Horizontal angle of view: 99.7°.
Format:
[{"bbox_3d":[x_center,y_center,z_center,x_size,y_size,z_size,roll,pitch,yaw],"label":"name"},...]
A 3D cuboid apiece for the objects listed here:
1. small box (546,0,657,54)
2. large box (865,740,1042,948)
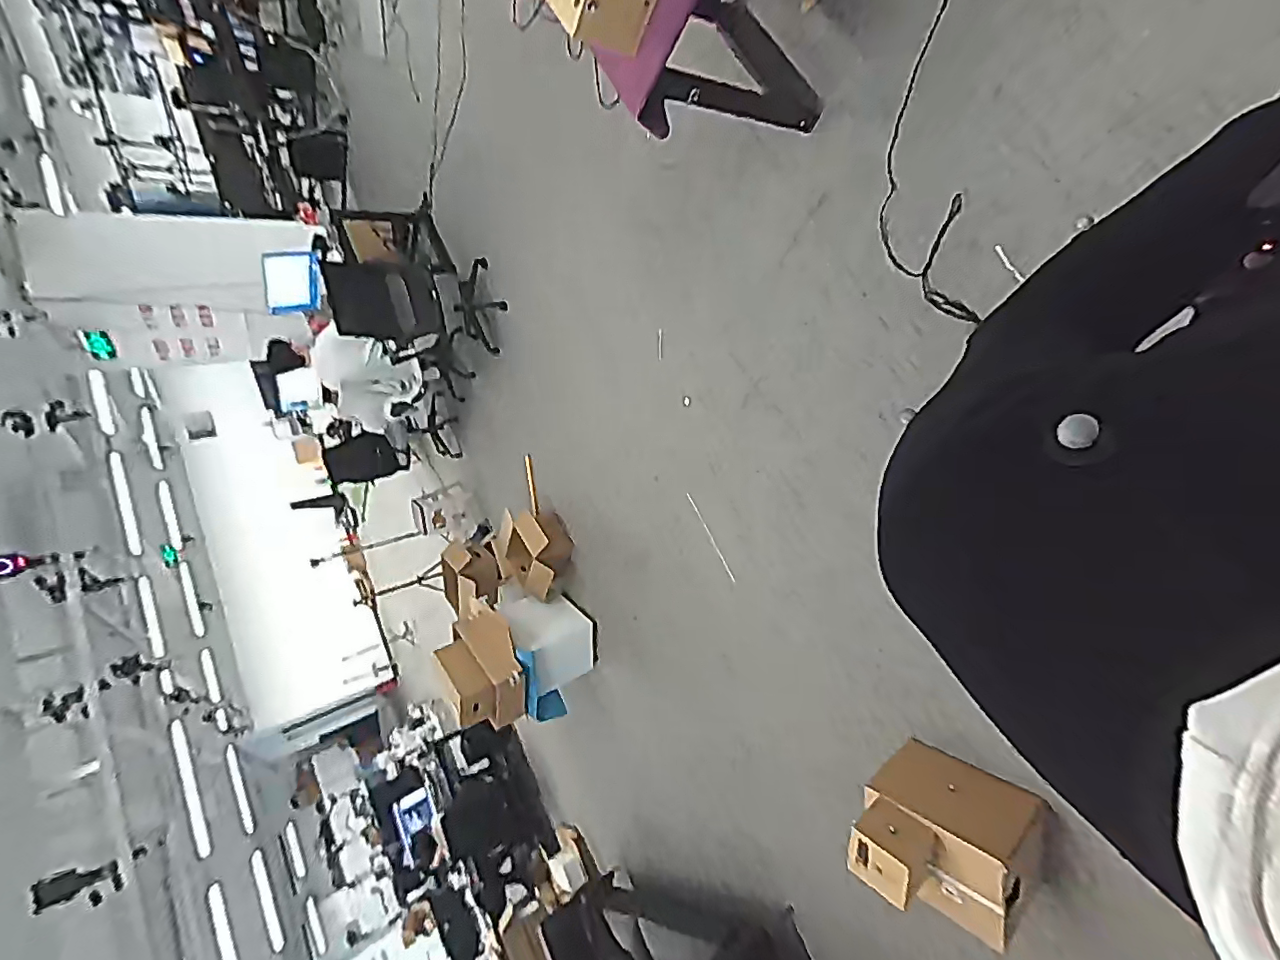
[{"bbox_3d":[-0.081,-1.054,1.149,0.179,0.176,0.168,63,143,17],"label":"small box"},{"bbox_3d":[0.987,1.113,1.715,0.408,0.320,0.320,7,110,51],"label":"large box"}]
